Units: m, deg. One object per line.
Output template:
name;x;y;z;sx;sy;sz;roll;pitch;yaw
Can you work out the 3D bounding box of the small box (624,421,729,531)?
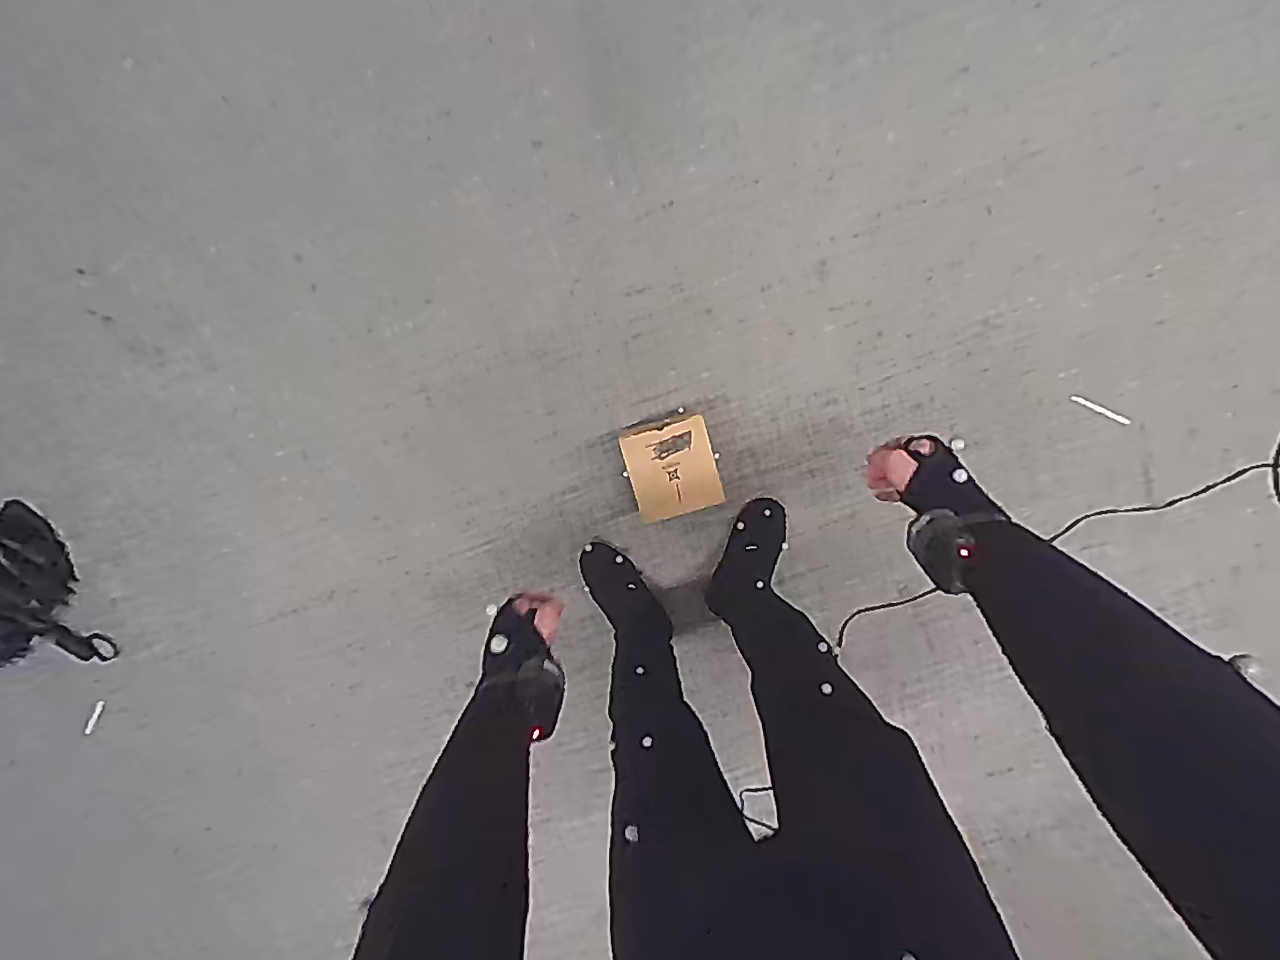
small box;0.073;-0.018;1.109;0.168;0.176;0.179;-17;100;6
